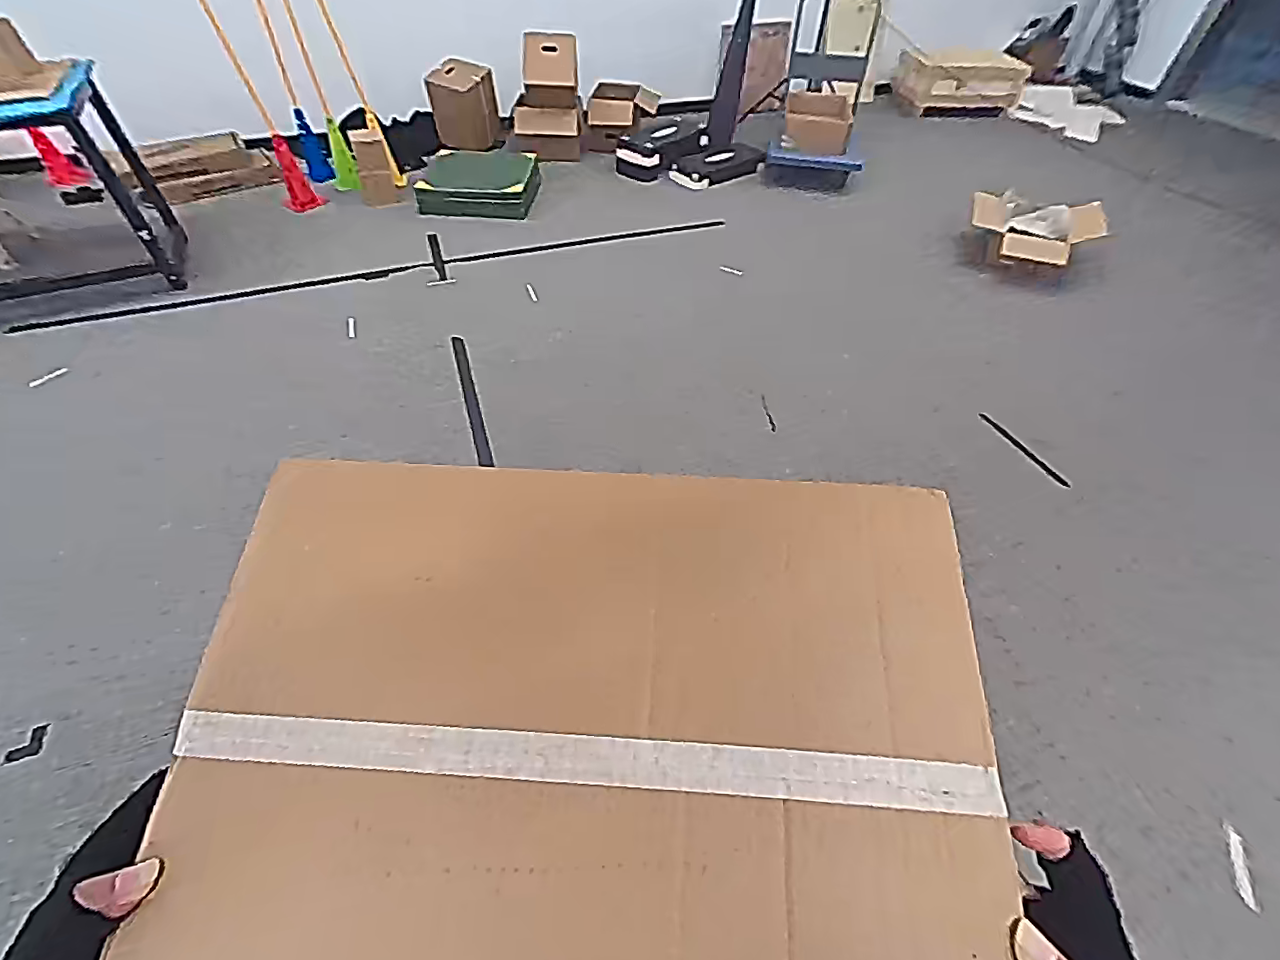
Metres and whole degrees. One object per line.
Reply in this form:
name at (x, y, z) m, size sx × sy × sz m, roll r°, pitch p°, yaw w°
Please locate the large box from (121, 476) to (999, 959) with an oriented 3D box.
large box at (-0.032, 0.203, 0.413) m, size 0.408 × 0.320 × 0.320 m, roll 2°, pitch 67°, yaw 3°
